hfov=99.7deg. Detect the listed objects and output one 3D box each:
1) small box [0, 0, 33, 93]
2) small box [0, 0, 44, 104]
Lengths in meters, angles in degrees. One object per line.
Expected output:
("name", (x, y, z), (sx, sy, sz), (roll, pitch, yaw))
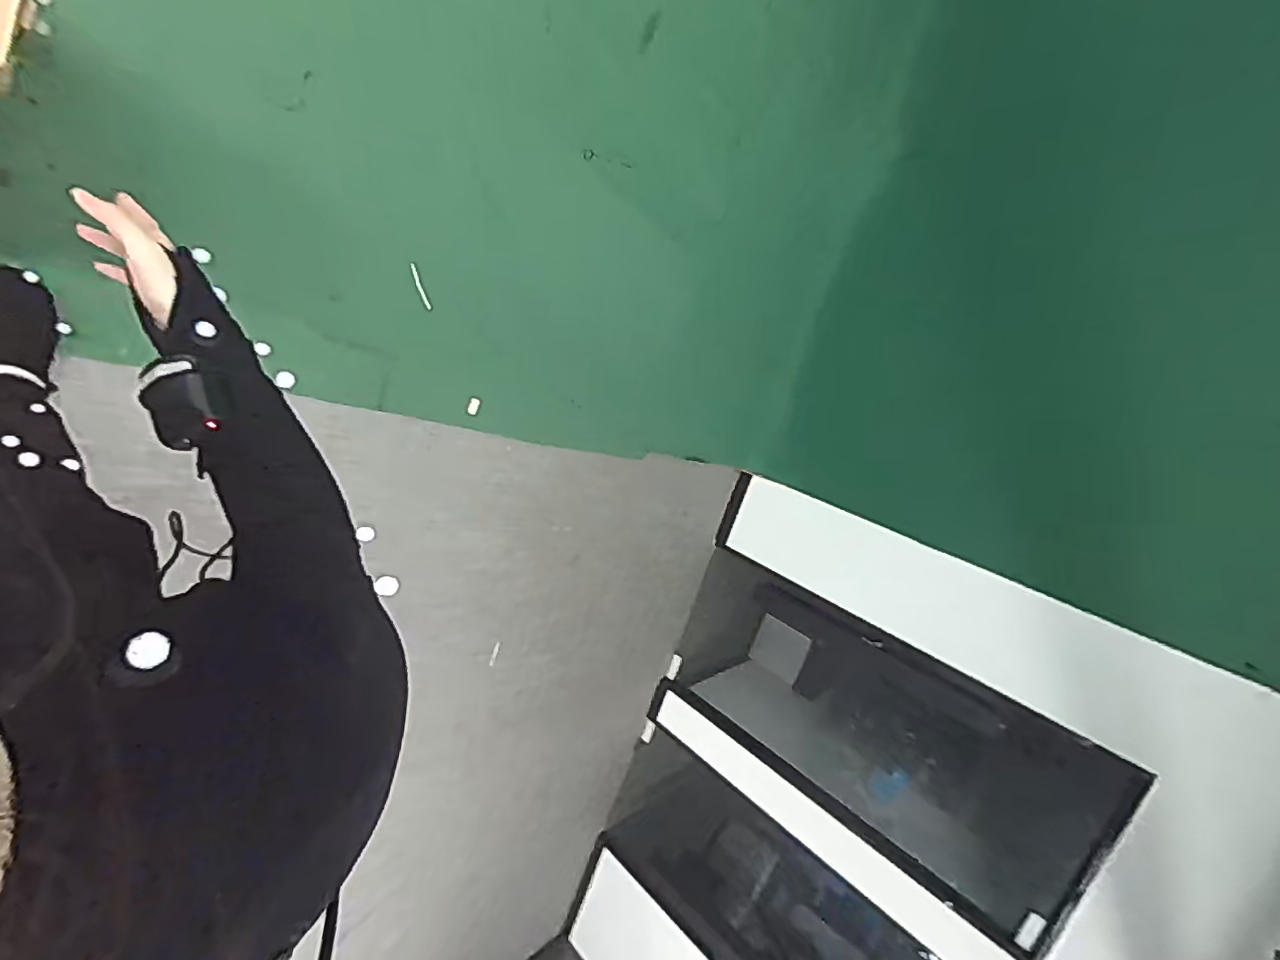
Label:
("small box", (-0.596, -0.443, 0.419), (0.168, 0.176, 0.179), (15, 100, -52))
("small box", (-0.715, -0.499, 0.519), (0.179, 0.176, 0.168), (18, 96, -53))
